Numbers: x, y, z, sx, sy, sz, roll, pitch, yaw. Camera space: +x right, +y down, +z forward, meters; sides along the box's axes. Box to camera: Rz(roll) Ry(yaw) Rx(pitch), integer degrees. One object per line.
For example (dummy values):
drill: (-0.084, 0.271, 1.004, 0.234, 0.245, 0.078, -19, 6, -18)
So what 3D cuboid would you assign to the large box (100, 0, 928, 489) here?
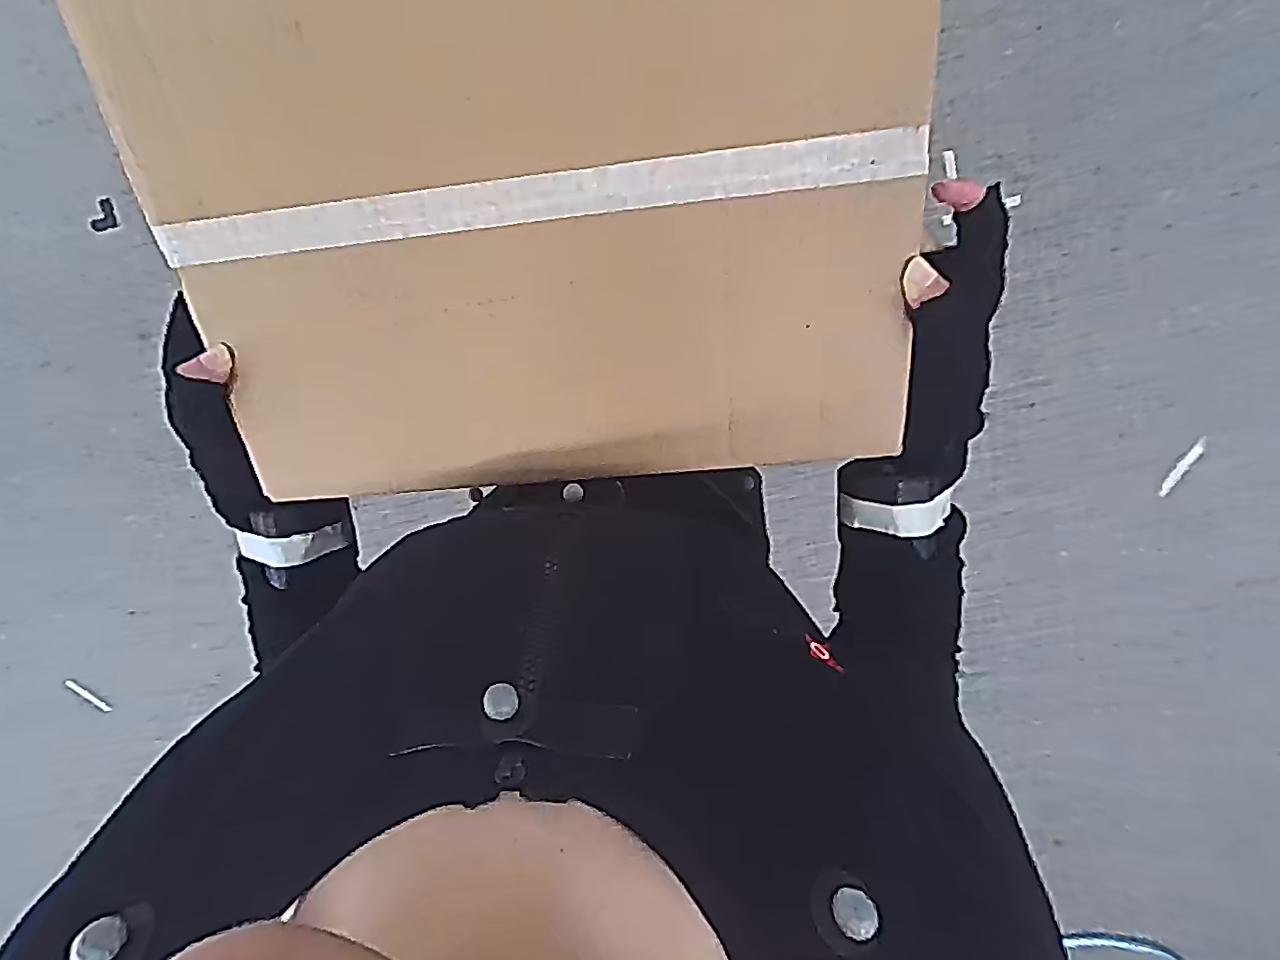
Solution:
large box: (-0.052, -0.207, 0.428, 0.408, 0.320, 0.320, -4, 114, 5)
